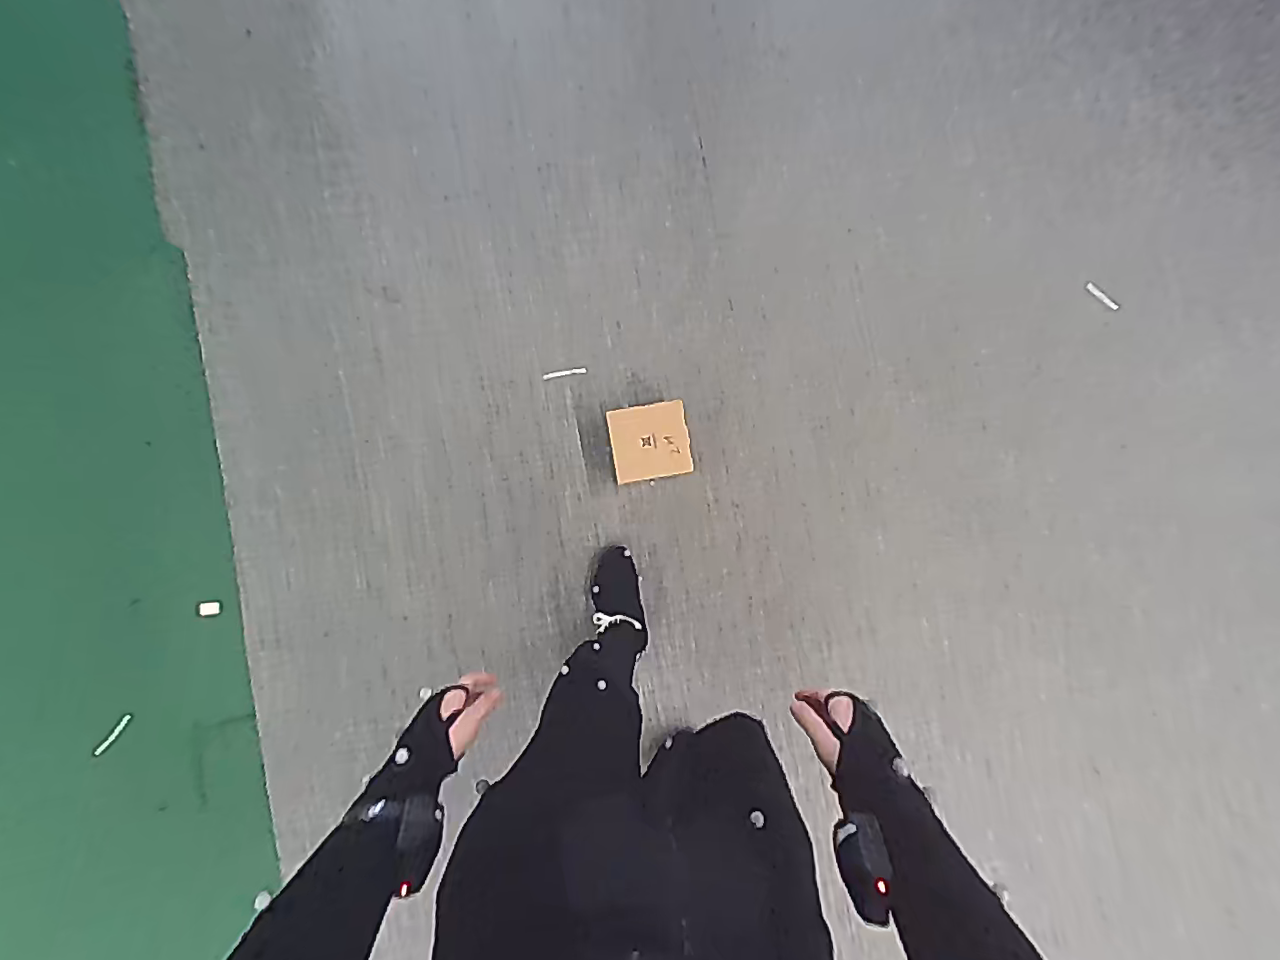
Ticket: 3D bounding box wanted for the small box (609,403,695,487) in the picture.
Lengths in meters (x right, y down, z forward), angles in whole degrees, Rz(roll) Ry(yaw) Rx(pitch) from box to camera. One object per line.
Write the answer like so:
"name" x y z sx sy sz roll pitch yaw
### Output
"small box" 0.025 -0.077 1.293 0.179 0.176 0.168 -9 88 -3
